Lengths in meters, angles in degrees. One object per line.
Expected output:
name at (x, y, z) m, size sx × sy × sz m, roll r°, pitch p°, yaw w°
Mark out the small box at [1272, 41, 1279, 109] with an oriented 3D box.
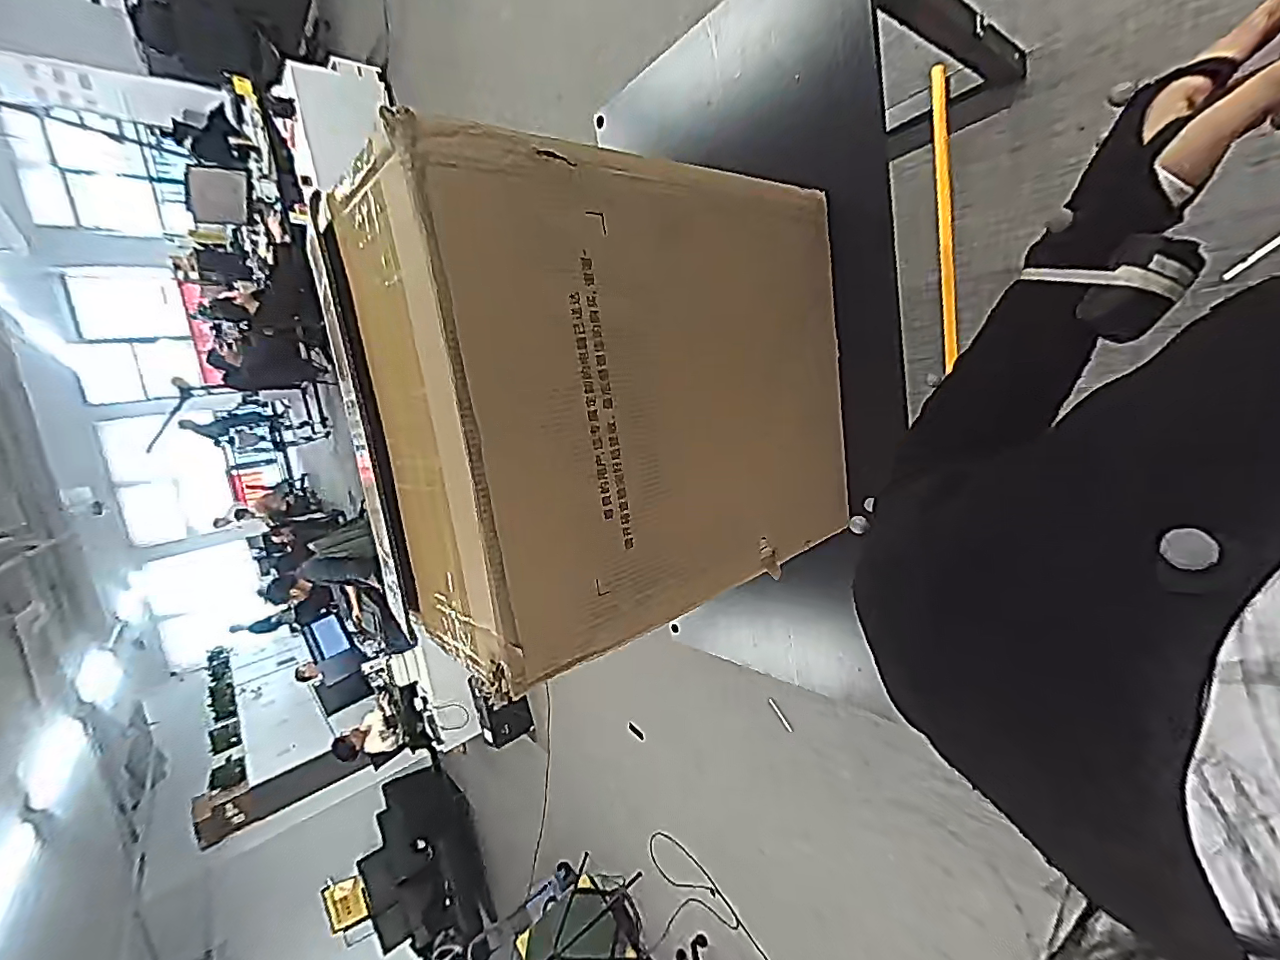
small box at (0.483, -0.308, 0.280) m, size 0.179 × 0.176 × 0.168 m, roll 17°, pitch 119°, yaw 44°
